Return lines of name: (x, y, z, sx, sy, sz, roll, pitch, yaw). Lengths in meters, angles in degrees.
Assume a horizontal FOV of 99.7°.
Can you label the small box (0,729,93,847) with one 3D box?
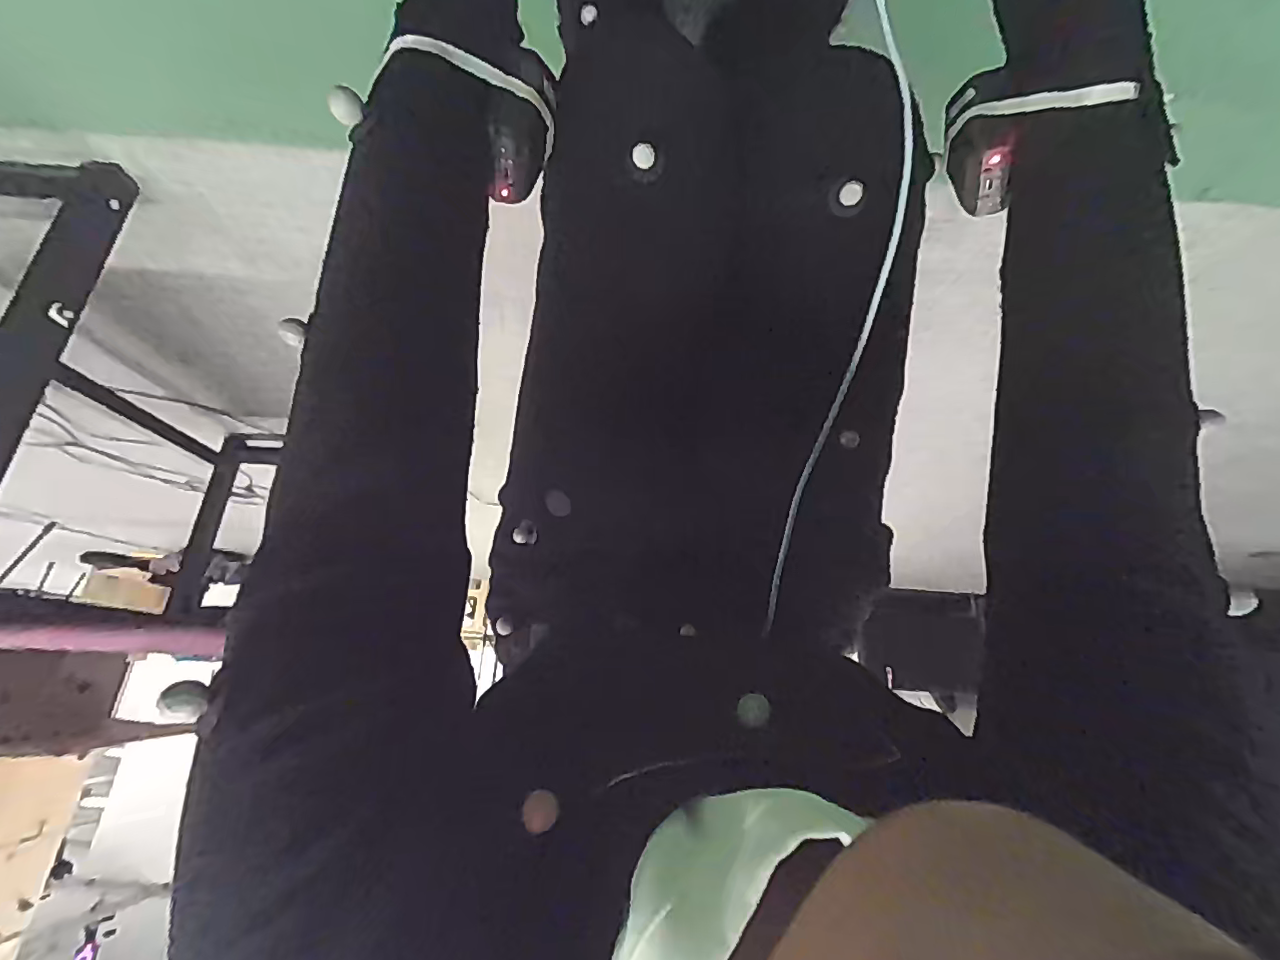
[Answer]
small box: (-1.211, 0.580, 1.028, 0.179, 0.176, 0.168, 7, 160, -2)
